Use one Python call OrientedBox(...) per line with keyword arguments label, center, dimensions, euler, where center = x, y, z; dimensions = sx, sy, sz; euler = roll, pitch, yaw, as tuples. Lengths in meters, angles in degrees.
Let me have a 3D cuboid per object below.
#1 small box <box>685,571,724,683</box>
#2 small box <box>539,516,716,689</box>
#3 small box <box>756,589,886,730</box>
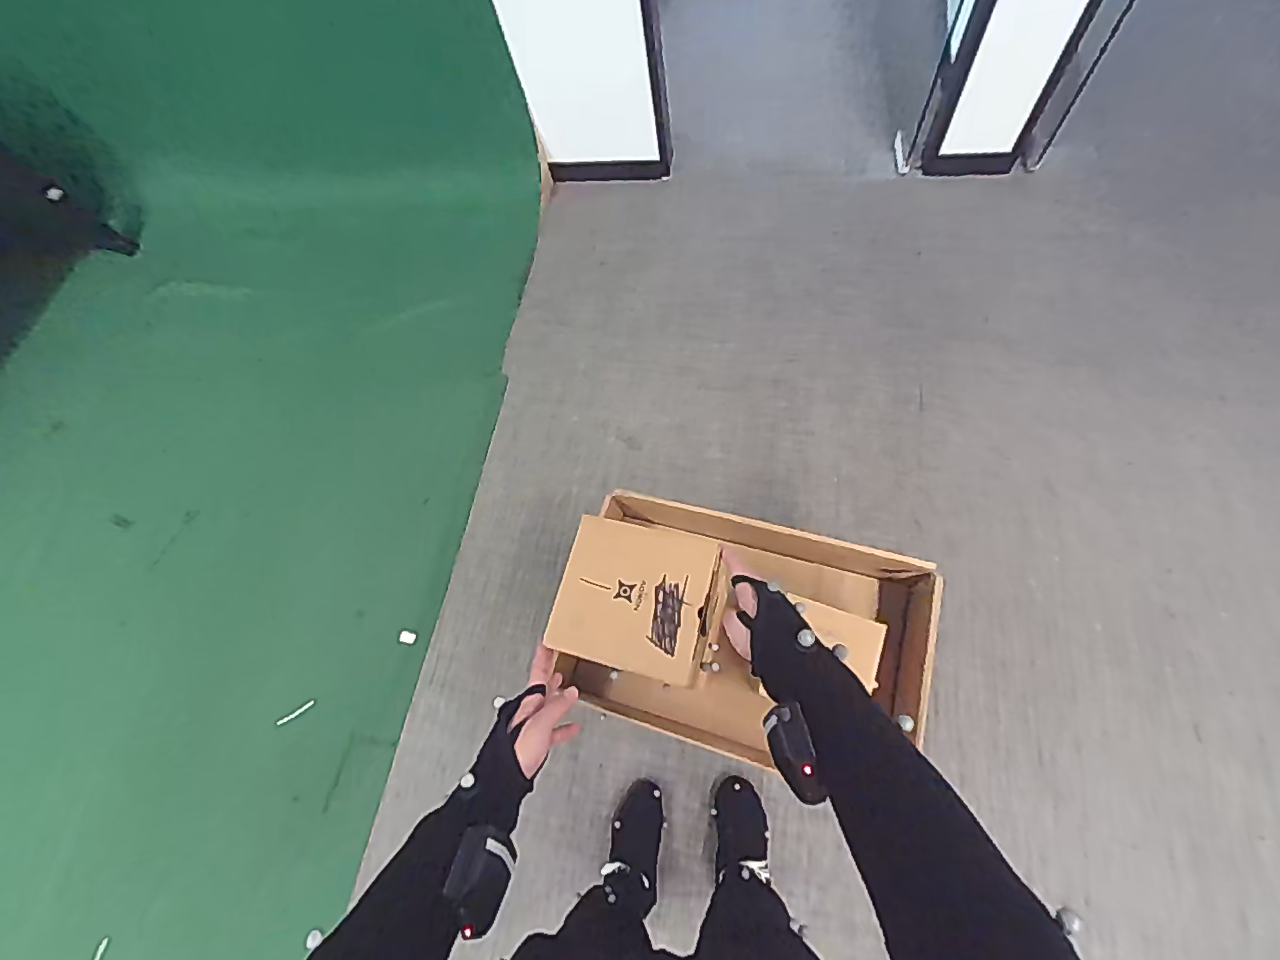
OrientedBox(label="small box", center=(0.029, 0.218, 0.861), dimensions=(0.179, 0.176, 0.168), euler=(14, 73, 14))
OrientedBox(label="small box", center=(-0.002, 0.163, 0.709), dimensions=(0.179, 0.176, 0.168), euler=(12, 72, 15))
OrientedBox(label="small box", center=(0.309, 0.312, 0.947), dimensions=(0.168, 0.176, 0.179), euler=(17, 74, 16))
